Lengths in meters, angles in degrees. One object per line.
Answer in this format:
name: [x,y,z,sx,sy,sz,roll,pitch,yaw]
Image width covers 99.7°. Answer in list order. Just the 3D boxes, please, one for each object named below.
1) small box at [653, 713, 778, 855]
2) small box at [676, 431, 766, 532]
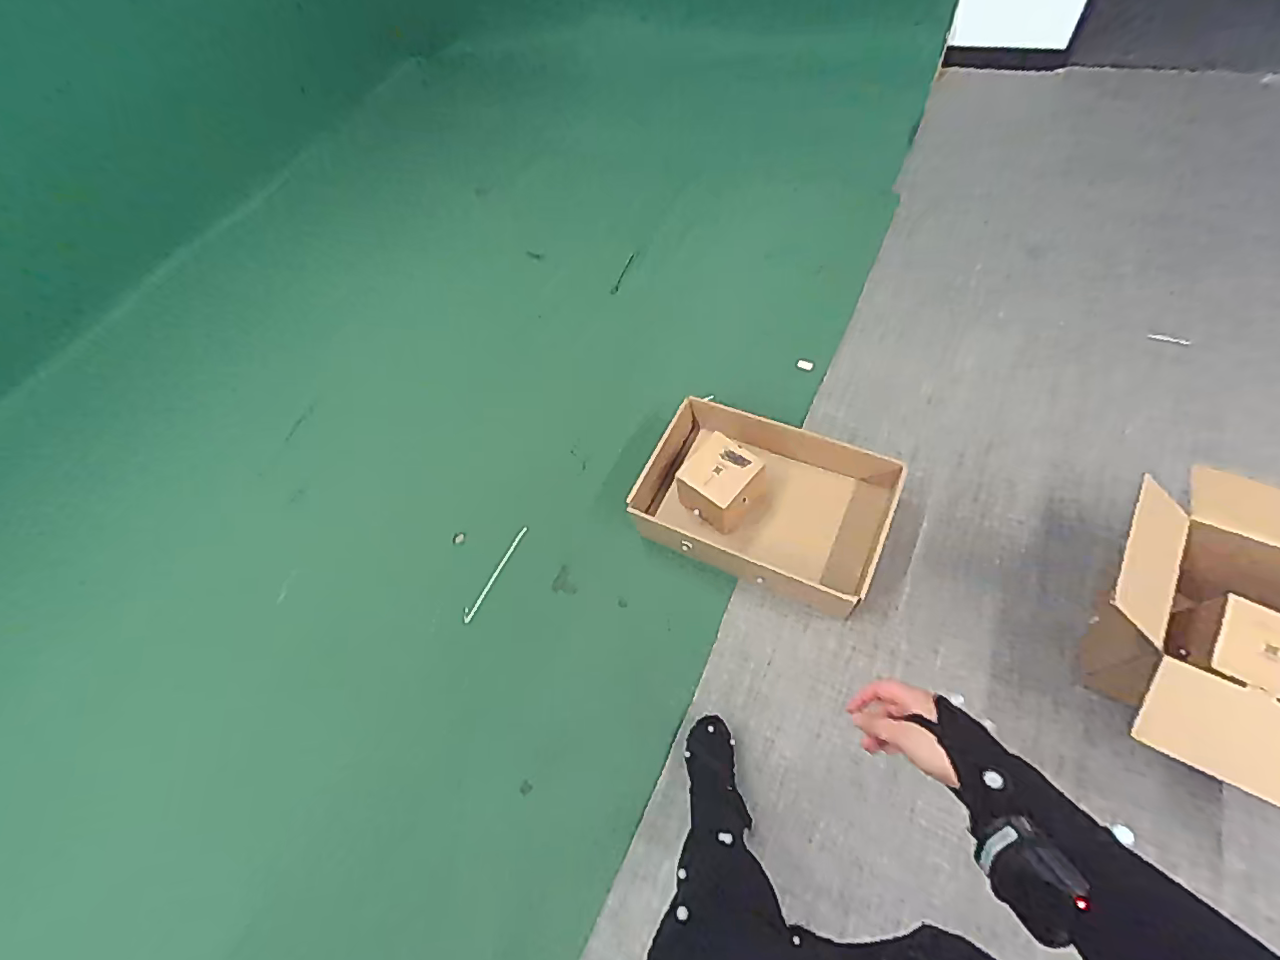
small box: [0.165,0.634,1.147,0.179,0.168,0.176,-35,96,-30]
small box: [0.217,0.008,1.465,0.168,0.176,0.179,36,72,25]
